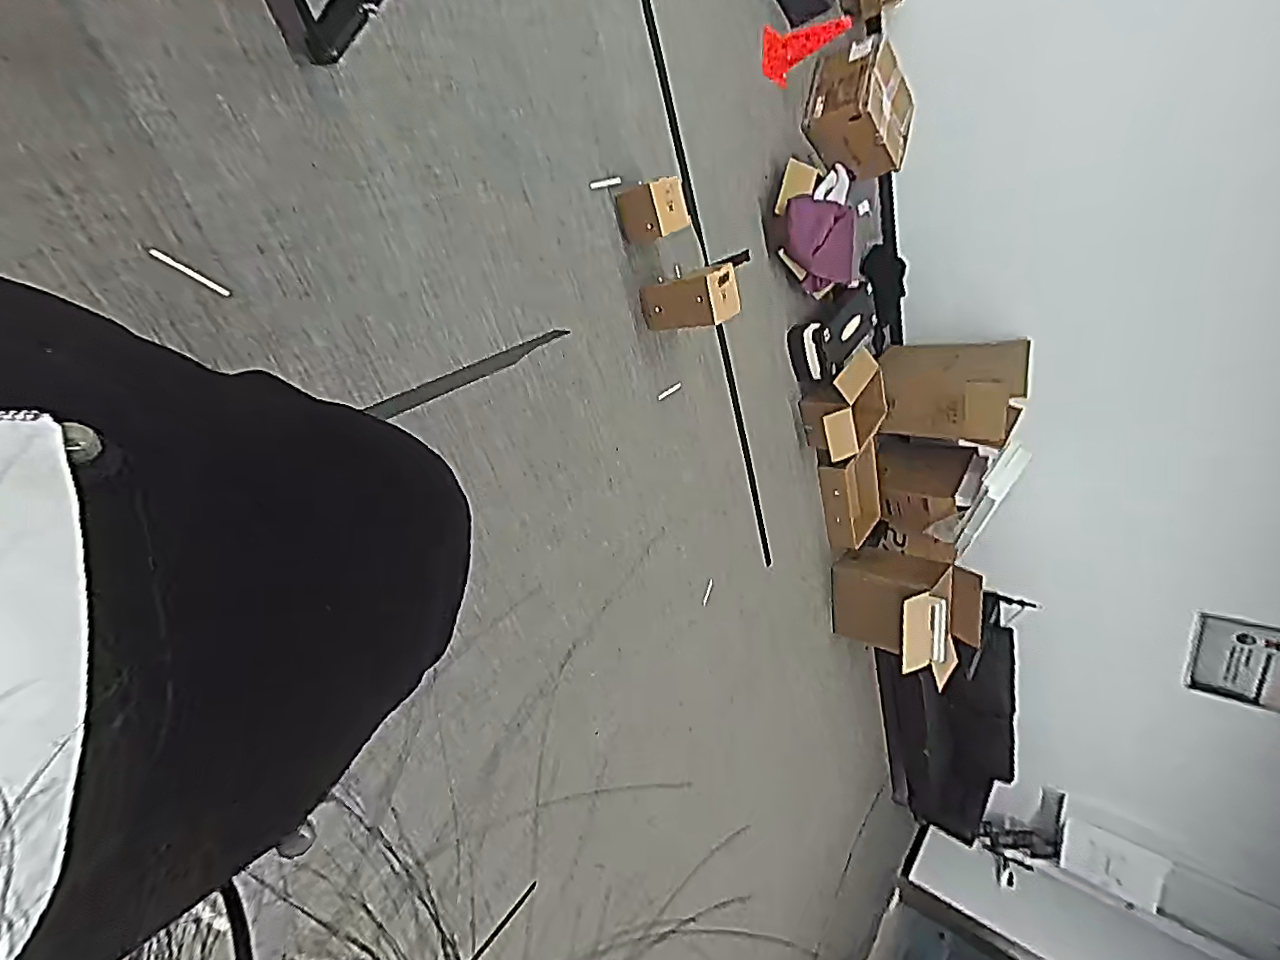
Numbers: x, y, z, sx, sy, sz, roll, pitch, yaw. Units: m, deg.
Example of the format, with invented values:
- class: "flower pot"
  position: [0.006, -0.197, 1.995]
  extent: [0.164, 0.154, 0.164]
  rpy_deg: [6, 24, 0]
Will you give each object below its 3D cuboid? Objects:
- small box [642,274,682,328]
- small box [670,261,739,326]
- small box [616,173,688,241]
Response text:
- class: "small box"
  position: [0.127, -0.693, 2.088]
  extent: [0.179, 0.176, 0.168]
  rpy_deg: [-35, 121, -35]
- class: "small box"
  position: [0.232, -0.673, 1.960]
  extent: [0.168, 0.176, 0.179]
  rpy_deg: [-38, 123, -35]
- class: "small box"
  position: [0.043, -0.978, 1.947]
  extent: [0.168, 0.176, 0.179]
  rpy_deg: [-39, 123, -35]
